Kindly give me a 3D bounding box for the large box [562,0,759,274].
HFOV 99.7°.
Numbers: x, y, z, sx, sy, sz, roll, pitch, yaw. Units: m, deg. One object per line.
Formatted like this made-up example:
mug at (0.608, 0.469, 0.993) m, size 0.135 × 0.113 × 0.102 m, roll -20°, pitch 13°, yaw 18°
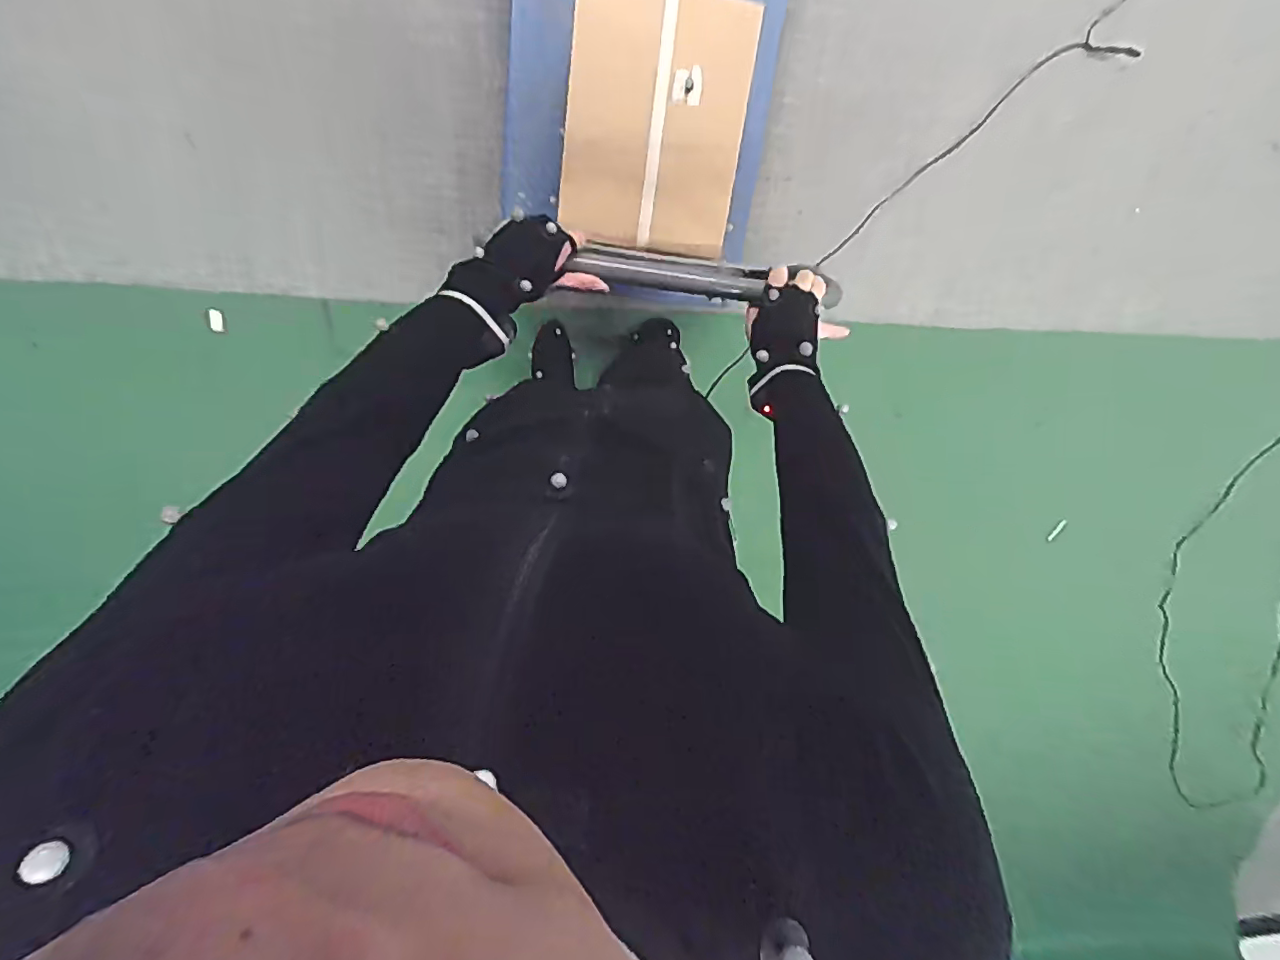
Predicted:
large box at (0.017, -0.651, 1.094) m, size 0.320 × 0.320 × 0.408 m, roll 5°, pitch 108°, yaw -8°
